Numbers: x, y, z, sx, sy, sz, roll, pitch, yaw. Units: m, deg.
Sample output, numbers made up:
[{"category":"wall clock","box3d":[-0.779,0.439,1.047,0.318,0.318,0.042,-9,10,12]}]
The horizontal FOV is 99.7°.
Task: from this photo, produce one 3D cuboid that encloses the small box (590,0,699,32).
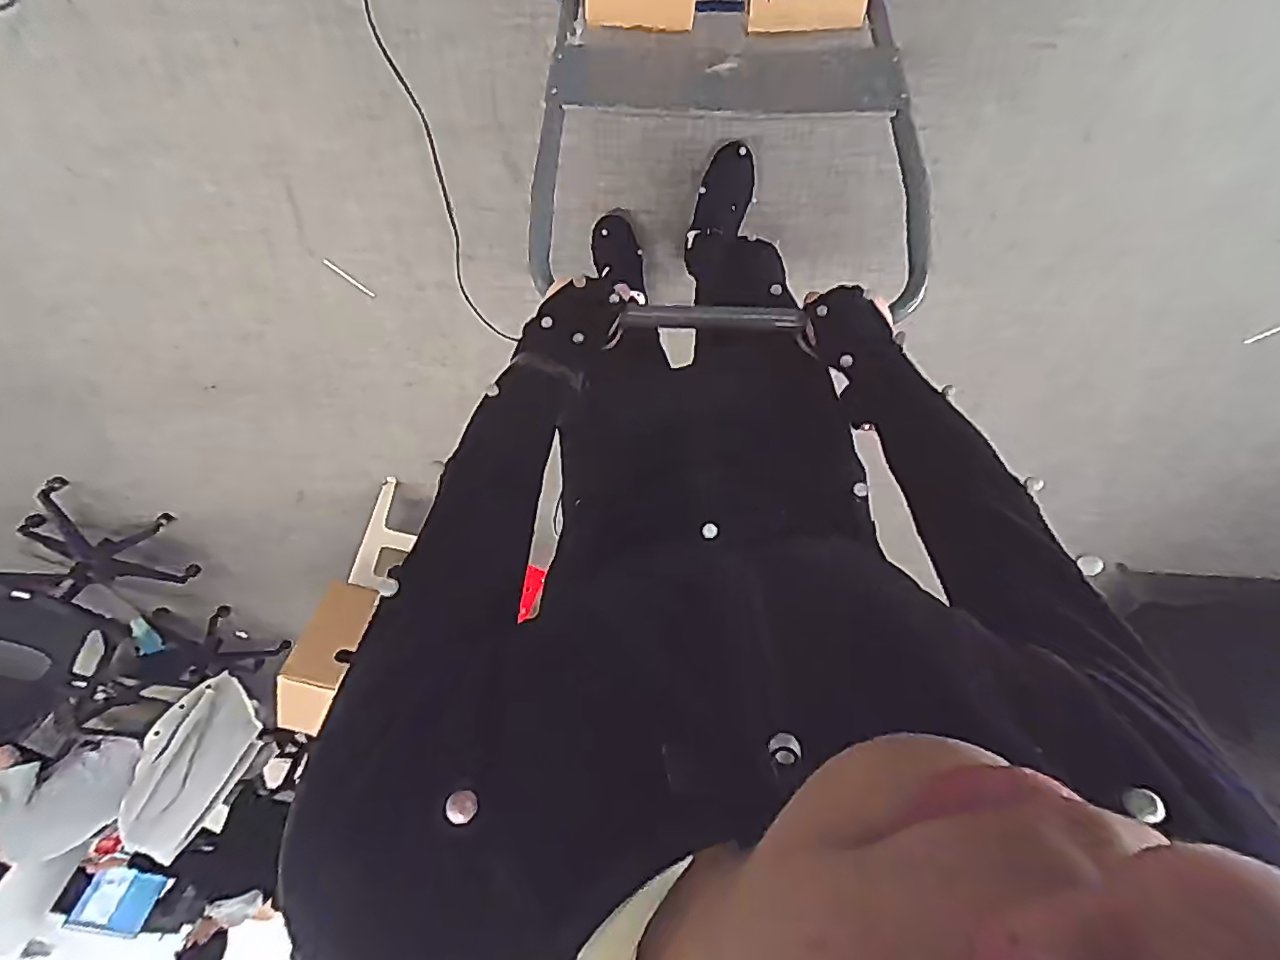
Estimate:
[{"category":"small box","box3d":[0.012,-0.806,0.783,0.168,0.176,0.179,3,161,-3]}]
